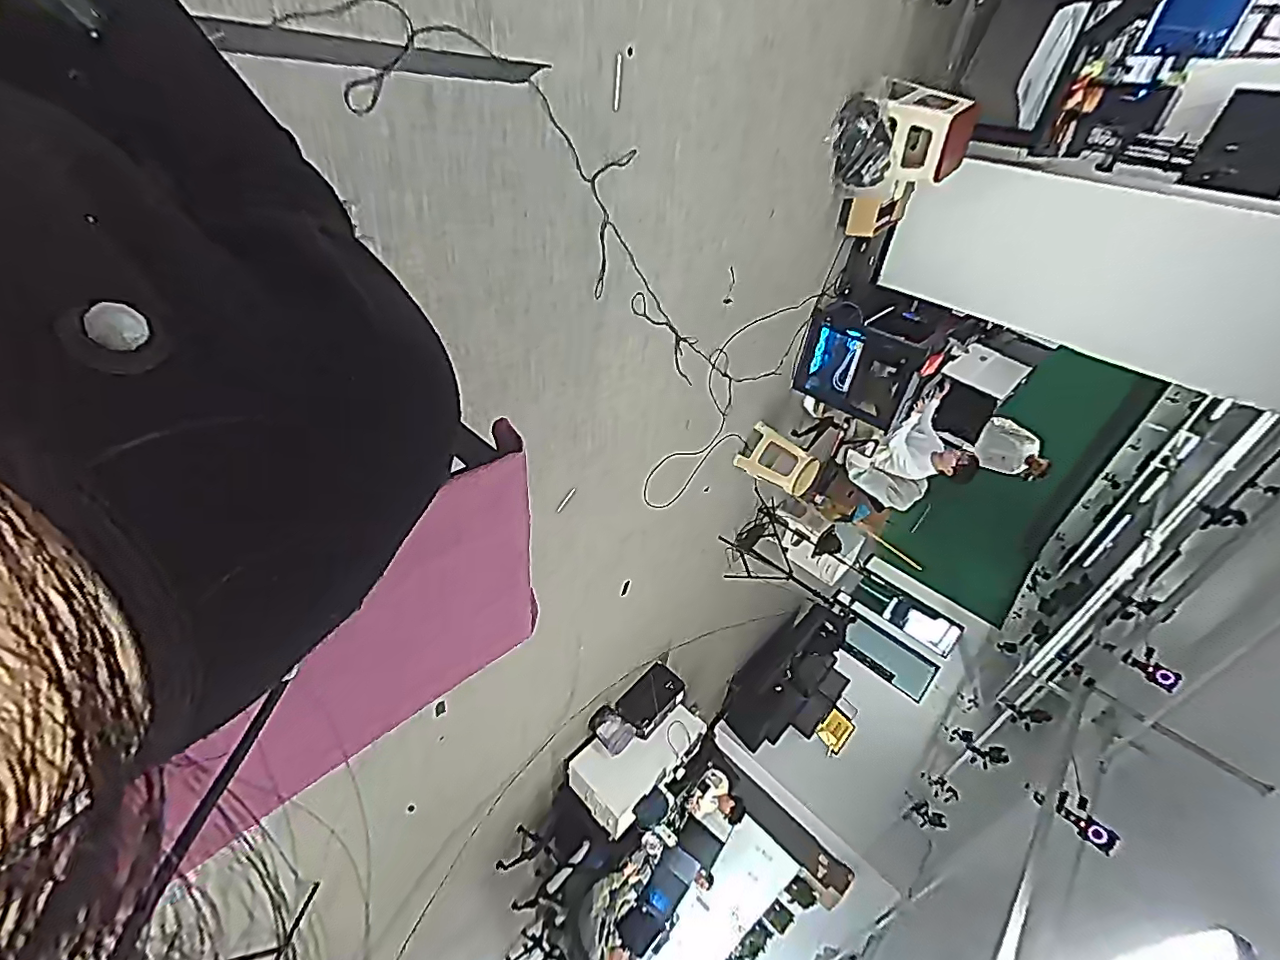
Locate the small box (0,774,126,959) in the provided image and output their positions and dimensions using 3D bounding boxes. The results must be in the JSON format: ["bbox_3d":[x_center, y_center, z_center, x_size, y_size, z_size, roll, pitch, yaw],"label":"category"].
[{"bbox_3d":[-0.817,0.528,0.689,0.179,0.176,0.168,-28,141,-40],"label":"small box"}]
